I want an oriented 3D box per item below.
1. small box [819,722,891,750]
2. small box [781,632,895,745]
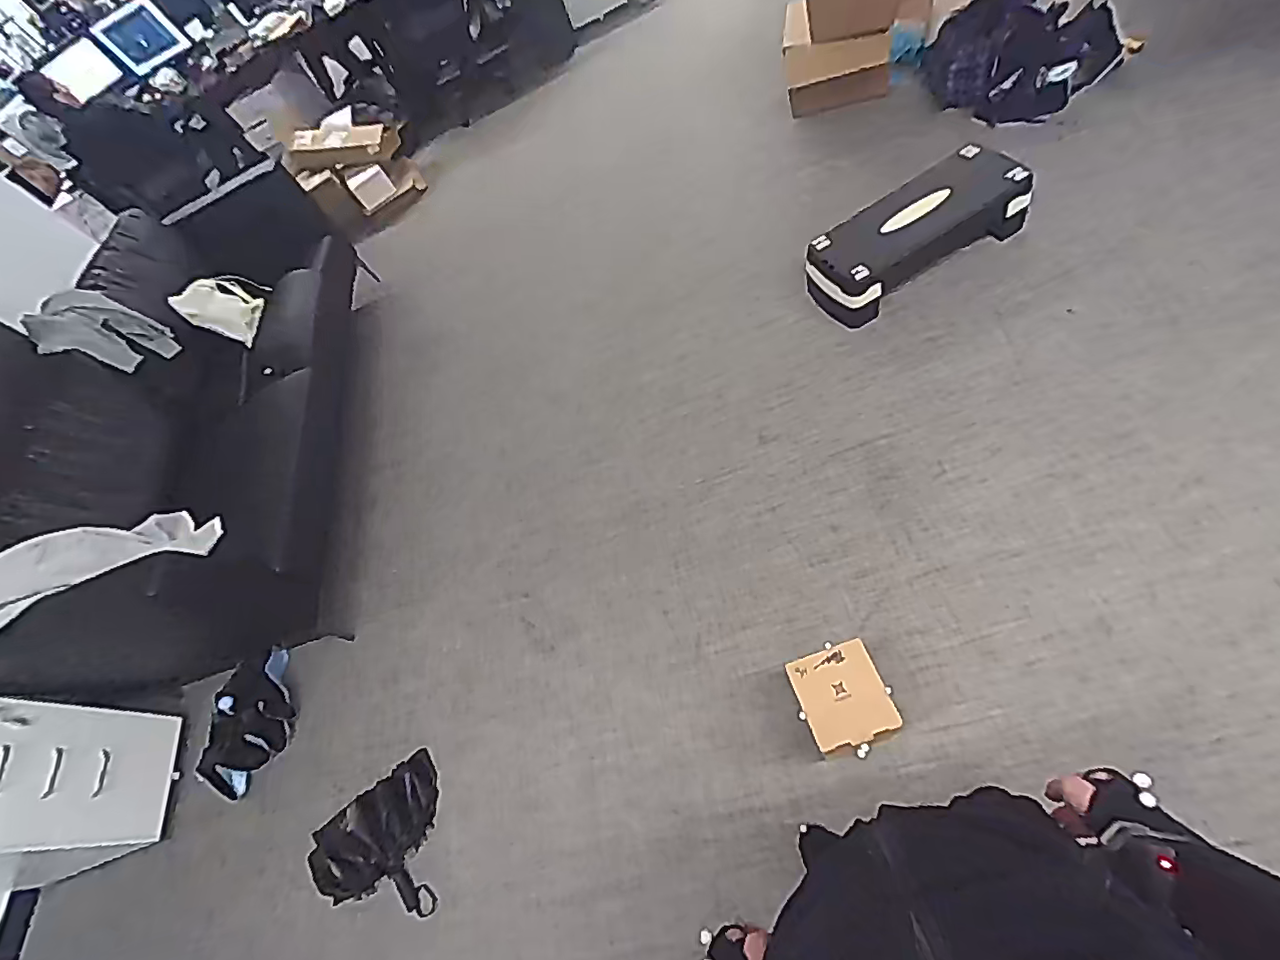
[{"bbox_3d":[0.468,0.520,1.276,0.168,0.176,0.179,-25,57,8],"label":"small box"},{"bbox_3d":[0.417,0.445,1.141,0.168,0.176,0.179,-24,57,9],"label":"small box"}]
